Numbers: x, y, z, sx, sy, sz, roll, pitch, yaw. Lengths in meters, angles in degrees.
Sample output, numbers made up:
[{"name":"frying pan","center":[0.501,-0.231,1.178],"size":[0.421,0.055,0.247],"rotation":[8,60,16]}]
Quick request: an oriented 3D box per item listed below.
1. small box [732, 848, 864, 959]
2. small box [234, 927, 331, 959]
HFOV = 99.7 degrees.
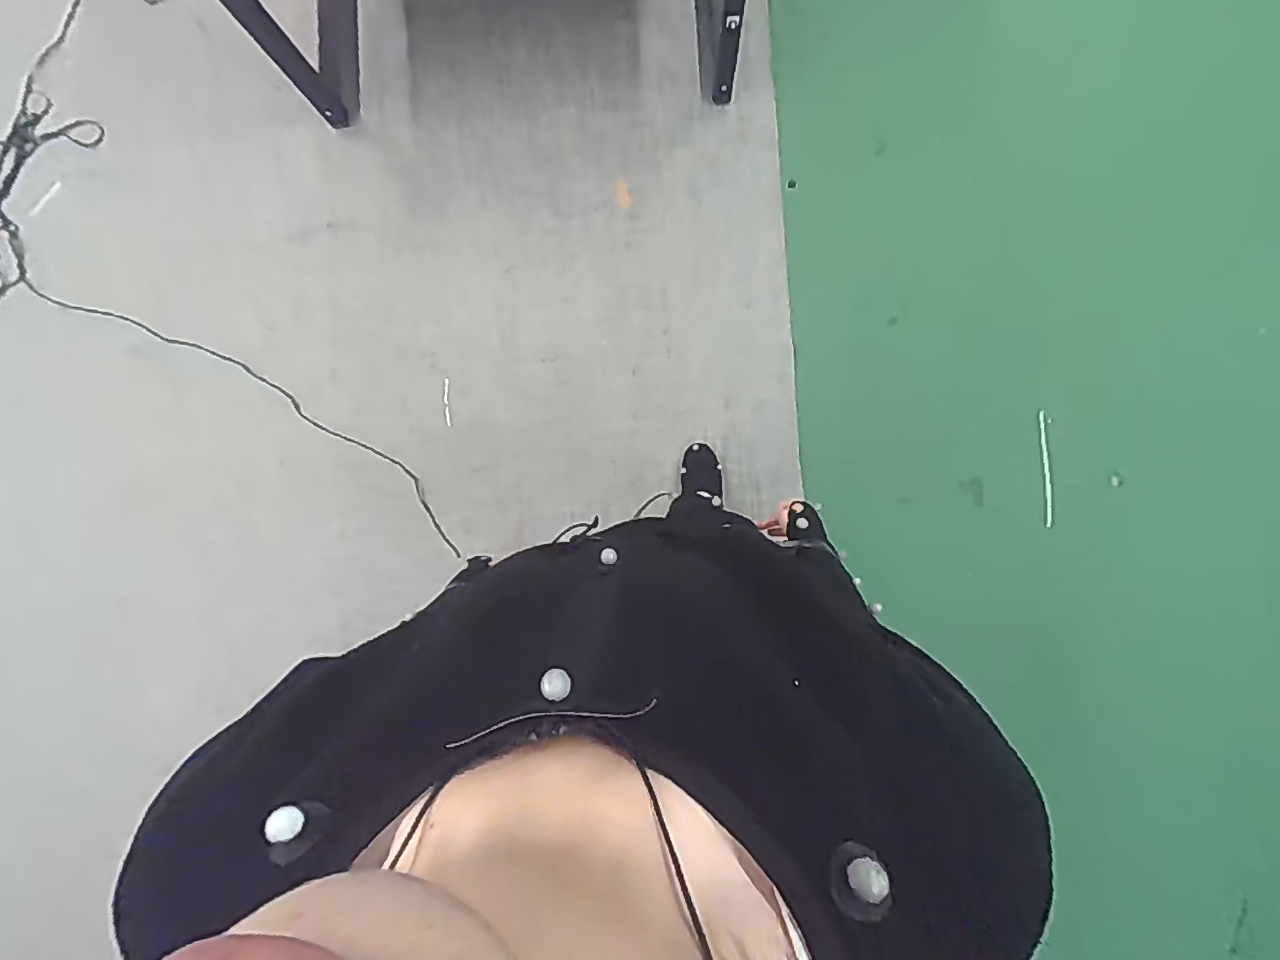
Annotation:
[{"name":"small box","center":[0.265,0.761,0.914],"size":[0.179,0.176,0.168],"rotation":[-11,87,2]},{"name":"small box","center":[-0.777,1.072,1.097],"size":[0.179,0.176,0.168],"rotation":[27,90,4]}]
